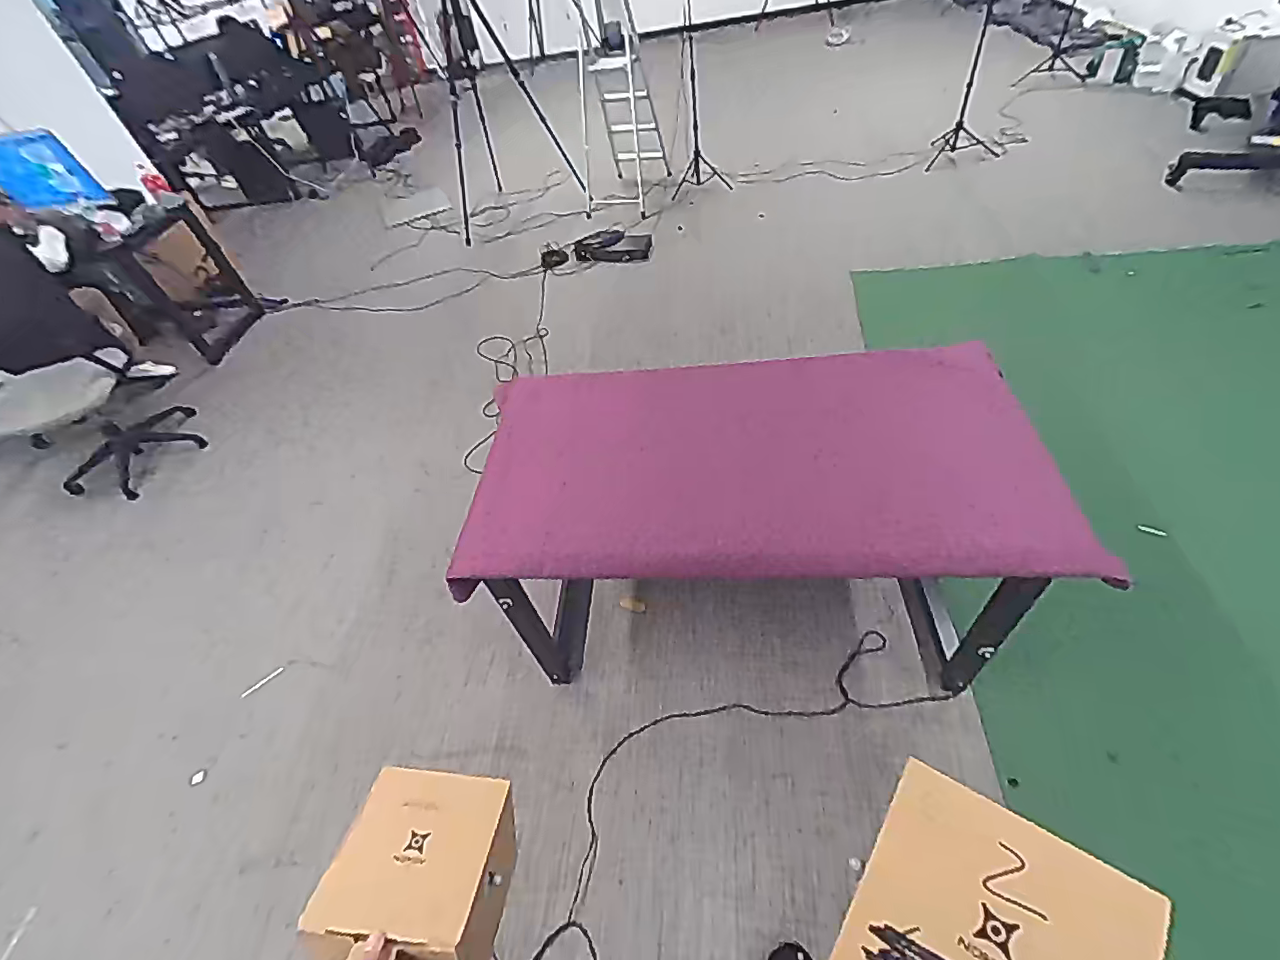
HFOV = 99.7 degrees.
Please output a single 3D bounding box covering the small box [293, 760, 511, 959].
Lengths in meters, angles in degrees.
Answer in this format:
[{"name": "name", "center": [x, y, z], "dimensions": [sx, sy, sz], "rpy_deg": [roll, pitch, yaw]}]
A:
[{"name": "small box", "center": [-0.256, 0.468, 0.633], "dimensions": [0.168, 0.176, 0.179], "rpy_deg": [5, 26, 4]}]
